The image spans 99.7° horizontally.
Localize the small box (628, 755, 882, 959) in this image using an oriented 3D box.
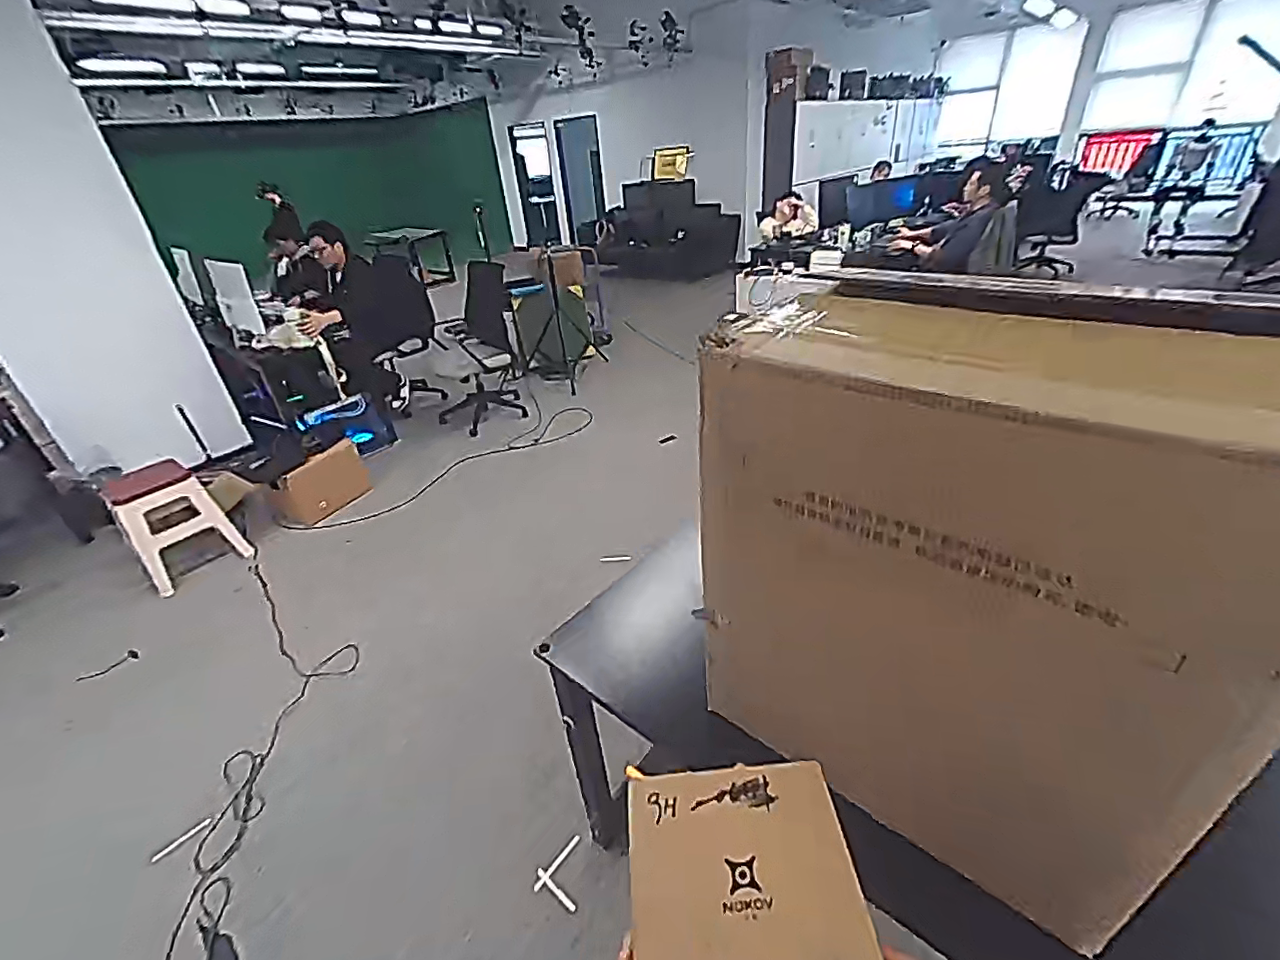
[{"bbox_3d":[0.083,0.355,0.434,0.168,0.176,0.179,-6,36,1],"label":"small box"}]
